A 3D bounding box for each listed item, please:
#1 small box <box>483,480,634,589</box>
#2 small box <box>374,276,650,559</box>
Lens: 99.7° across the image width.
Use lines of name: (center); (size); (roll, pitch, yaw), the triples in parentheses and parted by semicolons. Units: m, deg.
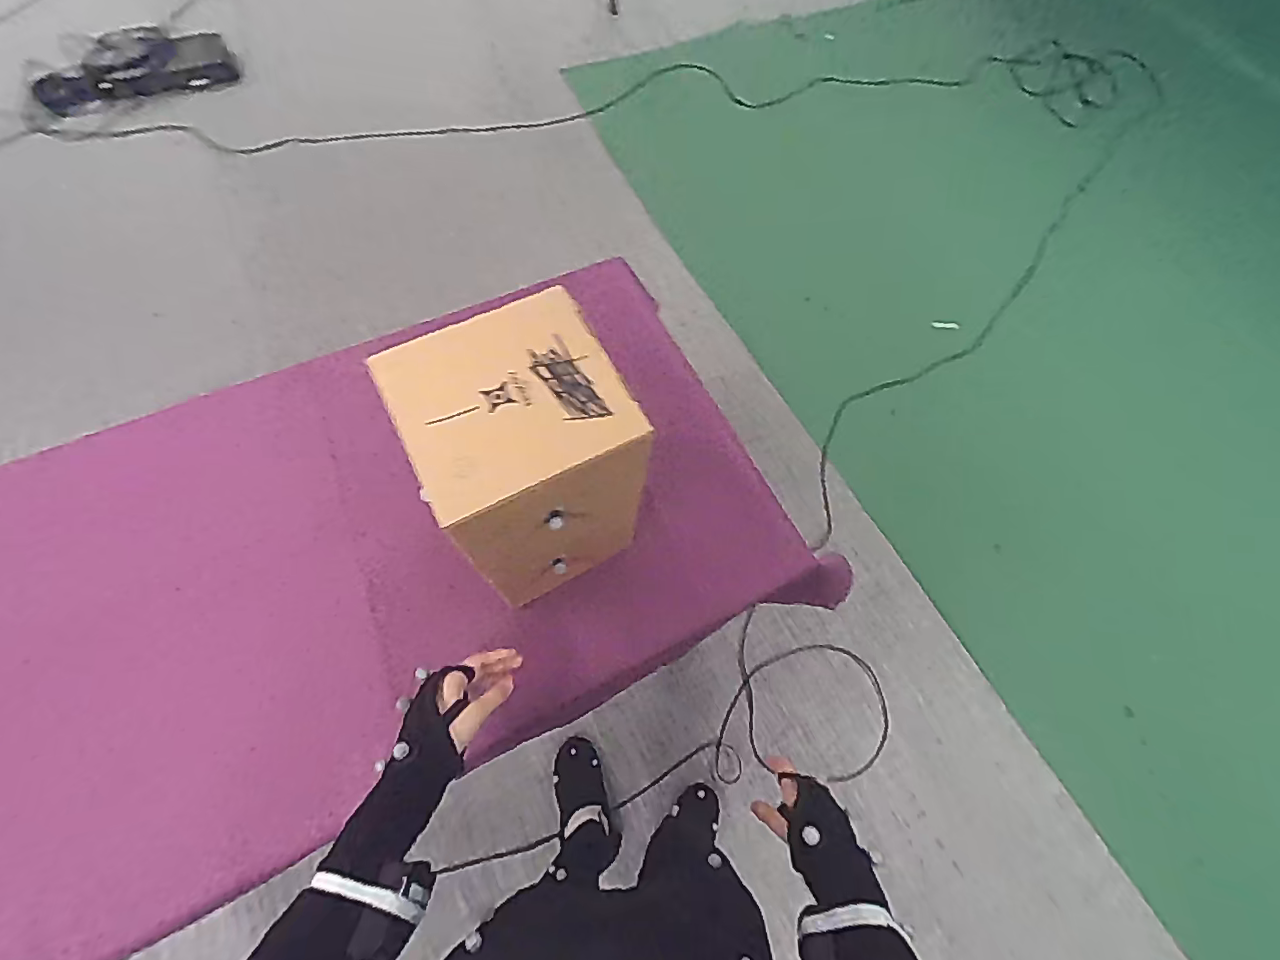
small box: (-0.121, 0.013, 0.661); (0.179, 0.176, 0.168); (-28, 72, -14)
small box: (-0.110, -0.049, 0.509); (0.179, 0.176, 0.168); (-27, 71, -14)
